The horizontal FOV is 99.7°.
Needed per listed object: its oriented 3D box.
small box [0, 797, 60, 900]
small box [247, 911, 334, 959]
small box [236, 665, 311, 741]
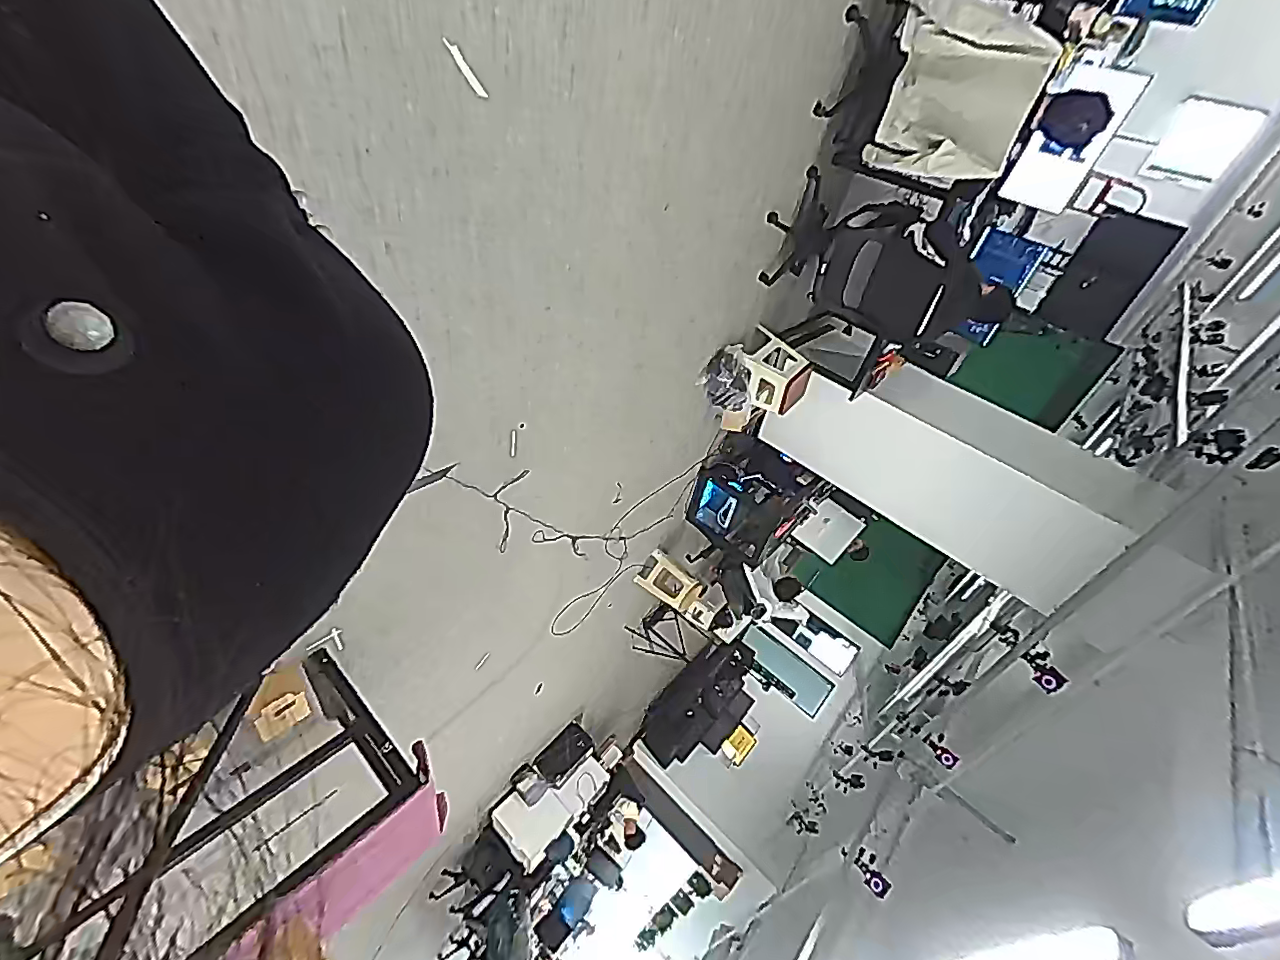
[{"bbox_3d":[-1.808,1.060,1.540,0.179,0.176,0.168,-17,136,-54],"label":"small box"},{"bbox_3d":[-1.055,1.461,1.638,0.168,0.176,0.179,-29,148,-41],"label":"small box"},{"bbox_3d":[-1.366,0.821,2.015,0.168,0.176,0.179,-30,148,-41],"label":"small box"}]
